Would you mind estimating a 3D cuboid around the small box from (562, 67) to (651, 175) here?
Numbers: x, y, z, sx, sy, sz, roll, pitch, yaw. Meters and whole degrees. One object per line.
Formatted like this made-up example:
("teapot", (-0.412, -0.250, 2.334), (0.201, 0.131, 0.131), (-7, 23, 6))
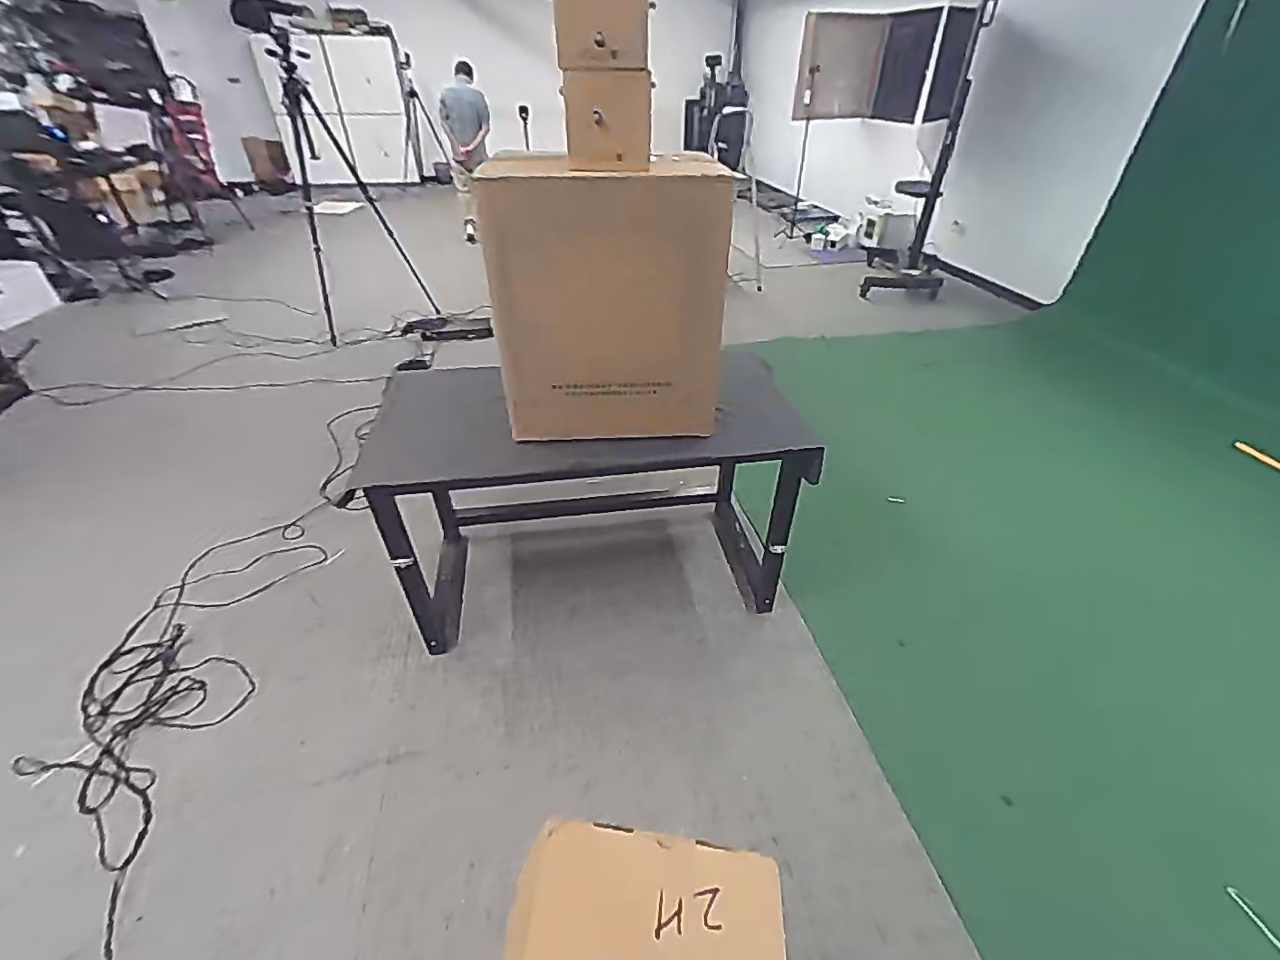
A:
("small box", (-0.062, -0.730, 1.100), (0.168, 0.176, 0.179), (-1, 39, -1))
